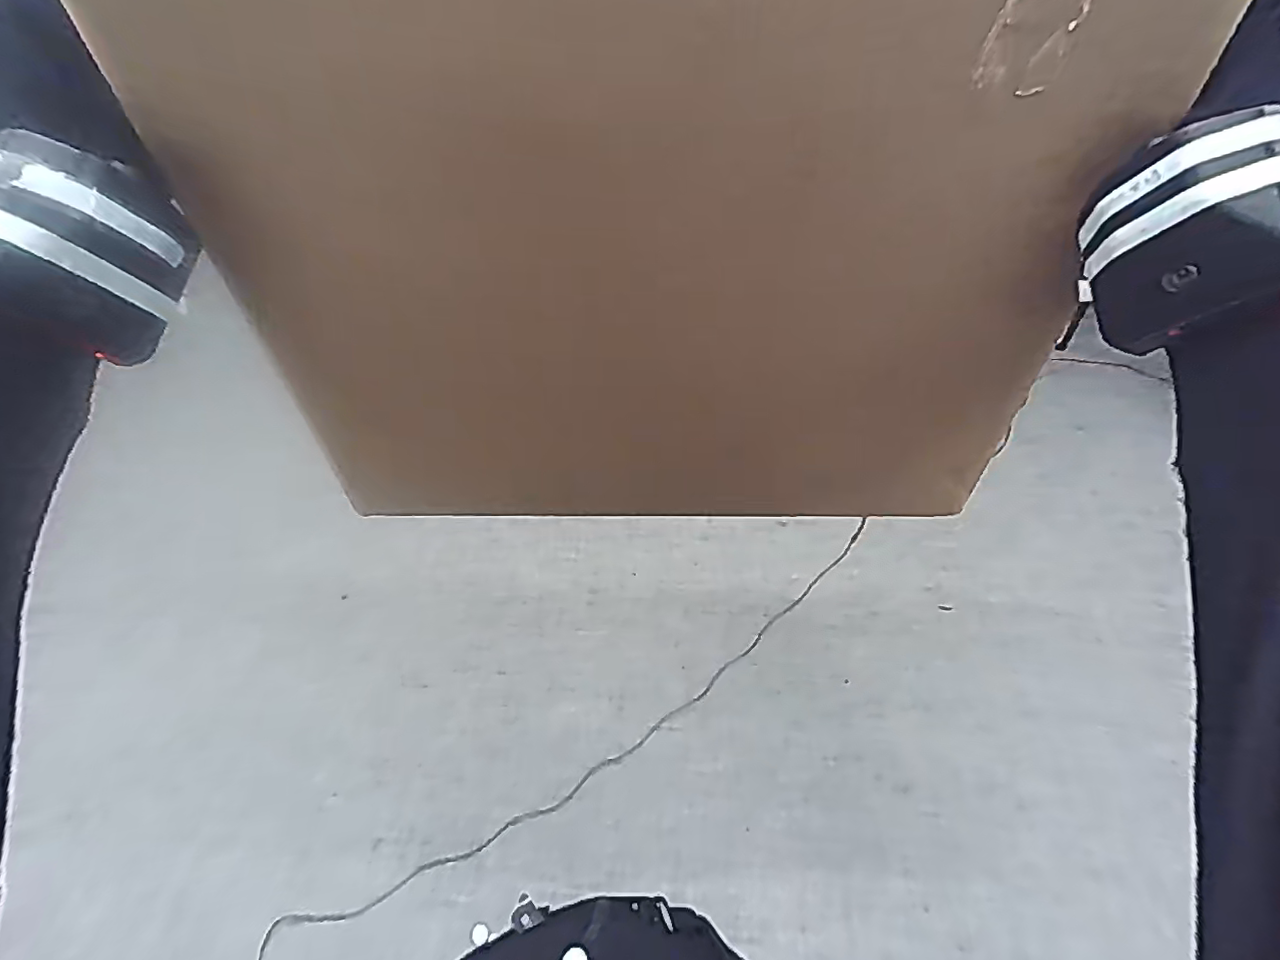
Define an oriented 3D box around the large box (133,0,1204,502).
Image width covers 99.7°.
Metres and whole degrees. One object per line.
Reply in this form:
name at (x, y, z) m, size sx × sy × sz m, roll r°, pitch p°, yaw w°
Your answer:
large box at (0.010, -0.196, 0.377) m, size 0.408 × 0.320 × 0.320 m, roll 0°, pitch 44°, yaw 1°
